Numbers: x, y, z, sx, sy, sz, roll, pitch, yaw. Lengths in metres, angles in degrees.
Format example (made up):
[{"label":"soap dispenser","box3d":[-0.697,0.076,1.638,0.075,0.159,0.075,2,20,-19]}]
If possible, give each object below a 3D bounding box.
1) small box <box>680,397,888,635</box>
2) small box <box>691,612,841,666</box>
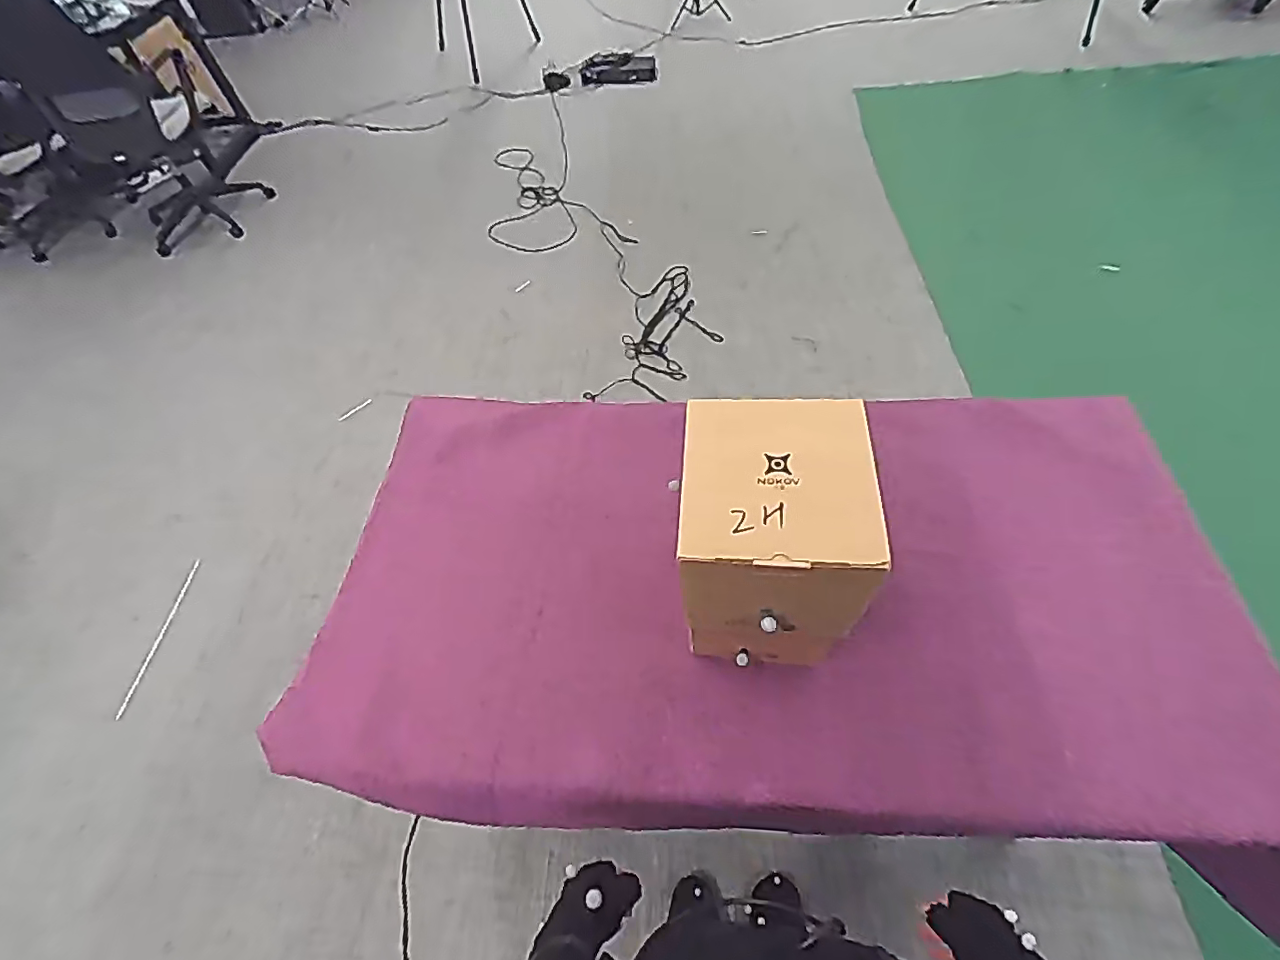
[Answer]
[{"label":"small box","box3d":[0.131,0.038,0.542,0.168,0.176,0.179,1,56,9]},{"label":"small box","box3d":[0.154,0.117,0.684,0.168,0.176,0.179,3,57,10]}]
